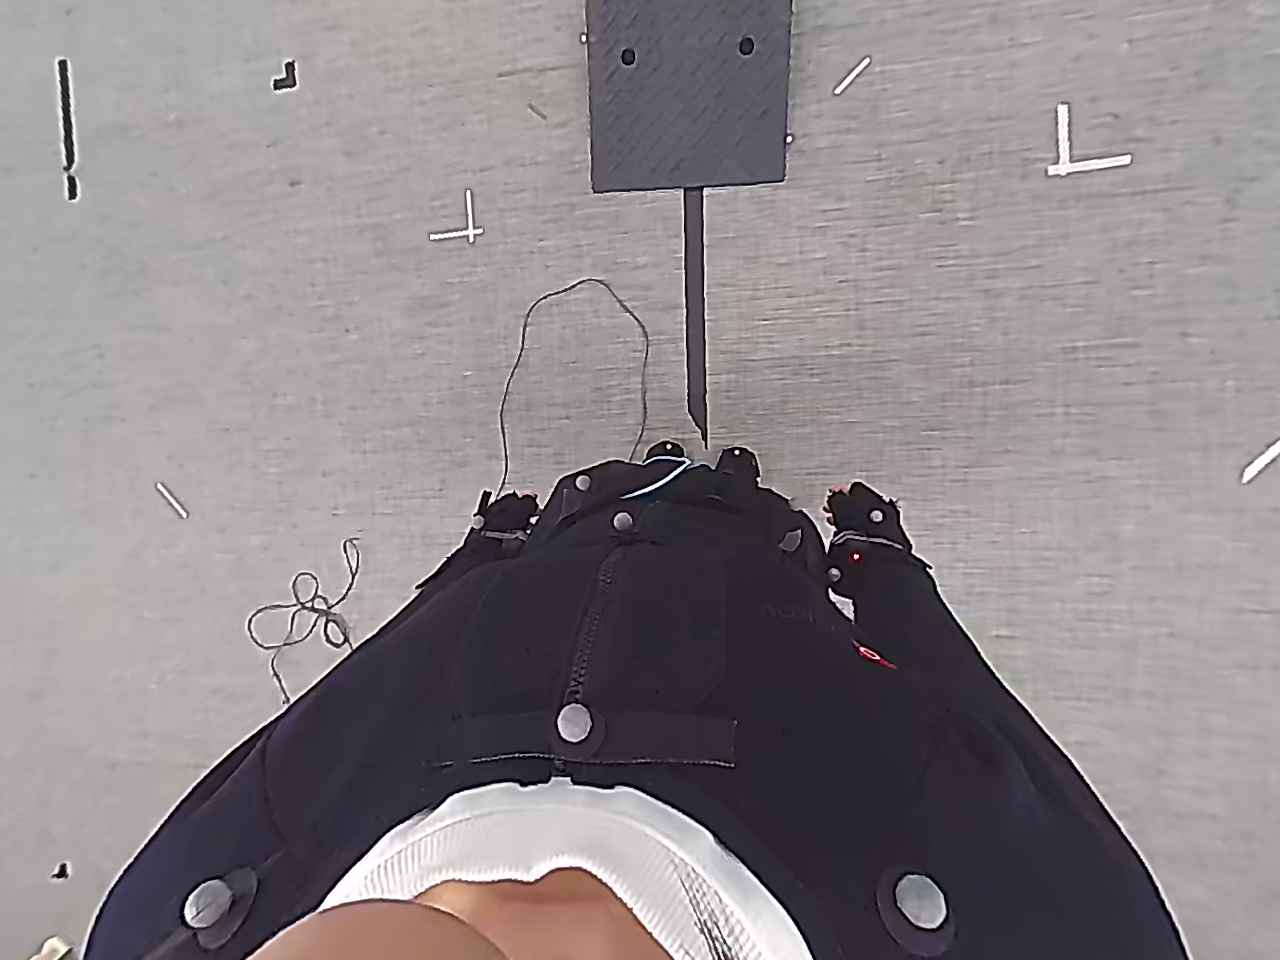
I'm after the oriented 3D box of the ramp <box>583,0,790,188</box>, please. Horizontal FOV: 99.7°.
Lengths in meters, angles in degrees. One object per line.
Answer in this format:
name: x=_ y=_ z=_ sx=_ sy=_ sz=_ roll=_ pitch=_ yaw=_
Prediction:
ramp: x=0.103 y=-1.240 z=1.250 sx=0.509 sy=0.206 sz=0.991 roll=-1 pitch=95 yaw=7
